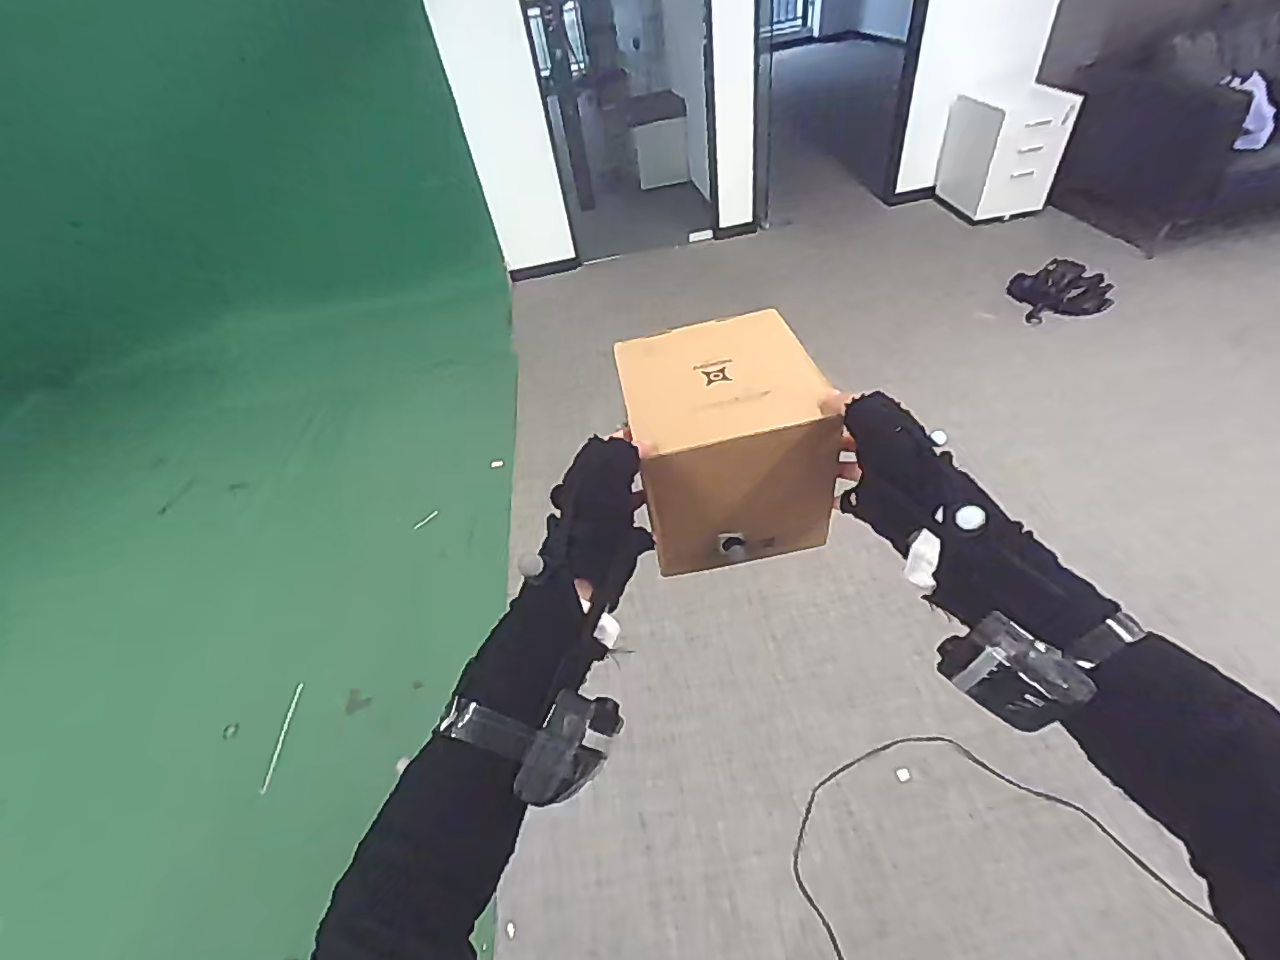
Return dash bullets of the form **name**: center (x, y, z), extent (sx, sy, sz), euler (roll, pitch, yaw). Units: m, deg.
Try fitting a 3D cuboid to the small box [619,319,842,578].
- **small box**: center (0.079, -0.032, 0.536), extent (0.168, 0.176, 0.179), euler (-12, 44, 1)
